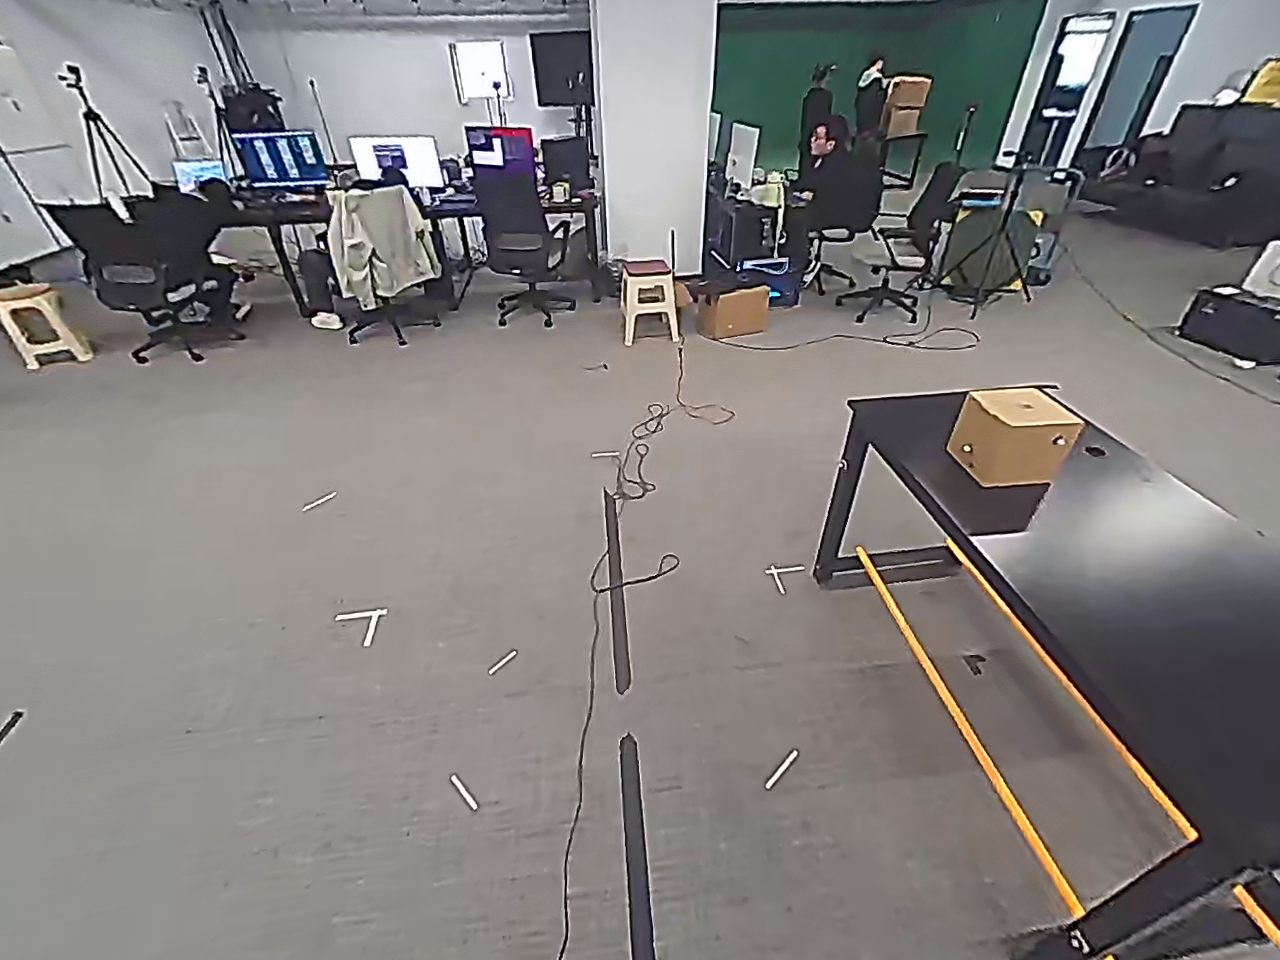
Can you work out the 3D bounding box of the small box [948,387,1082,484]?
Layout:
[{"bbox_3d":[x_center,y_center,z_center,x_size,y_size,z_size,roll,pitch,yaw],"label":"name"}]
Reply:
[{"bbox_3d":[0.882,-0.105,1.293,0.179,0.176,0.168,-4,37,-3],"label":"small box"}]
